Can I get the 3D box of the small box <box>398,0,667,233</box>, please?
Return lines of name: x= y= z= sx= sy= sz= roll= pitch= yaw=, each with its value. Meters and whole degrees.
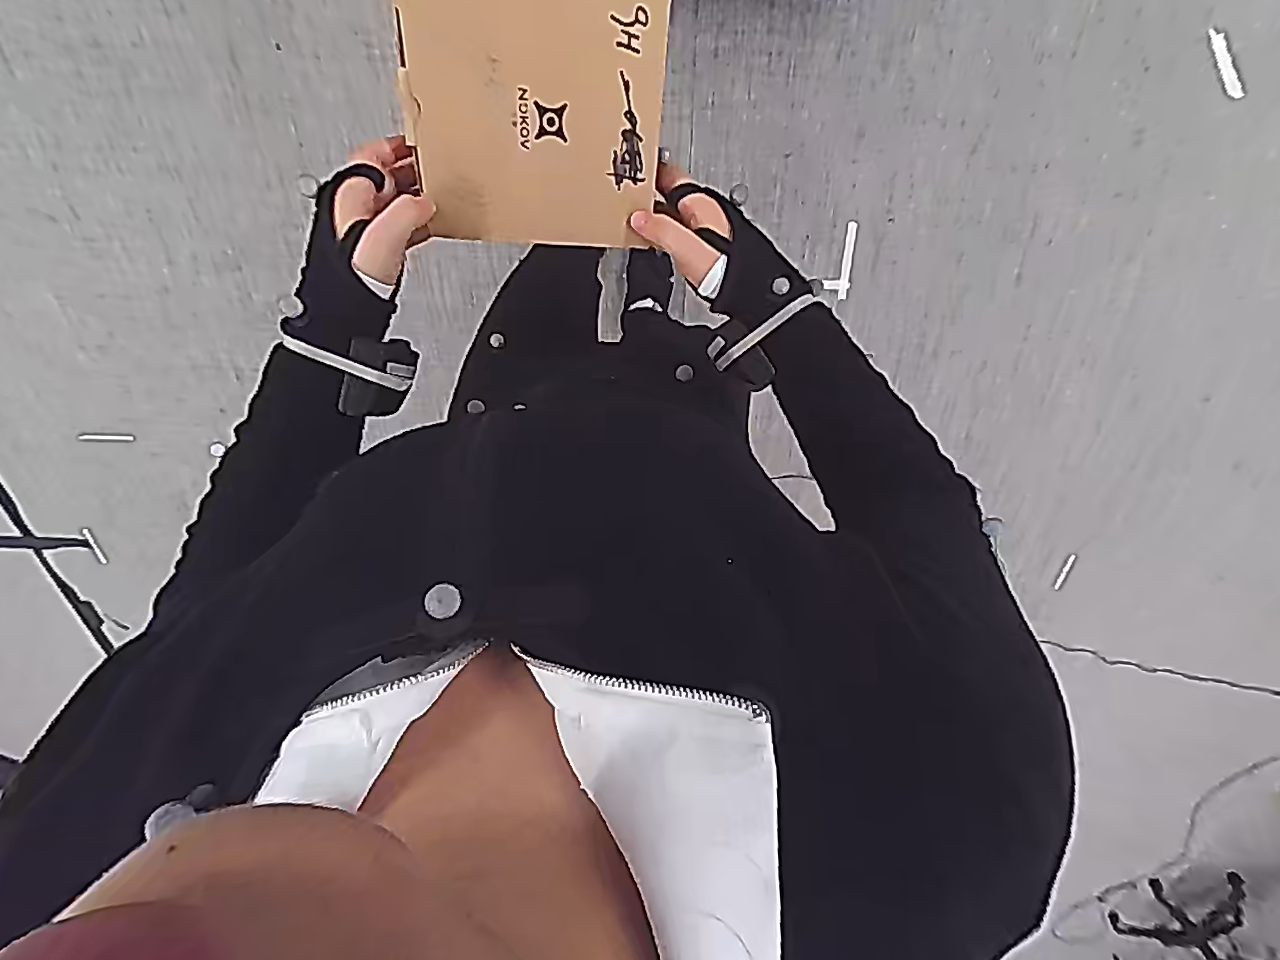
small box: x=-0.081 y=-0.314 z=0.446 sx=0.179 sy=0.176 sz=0.168 roll=0 pitch=126 yaw=-8
